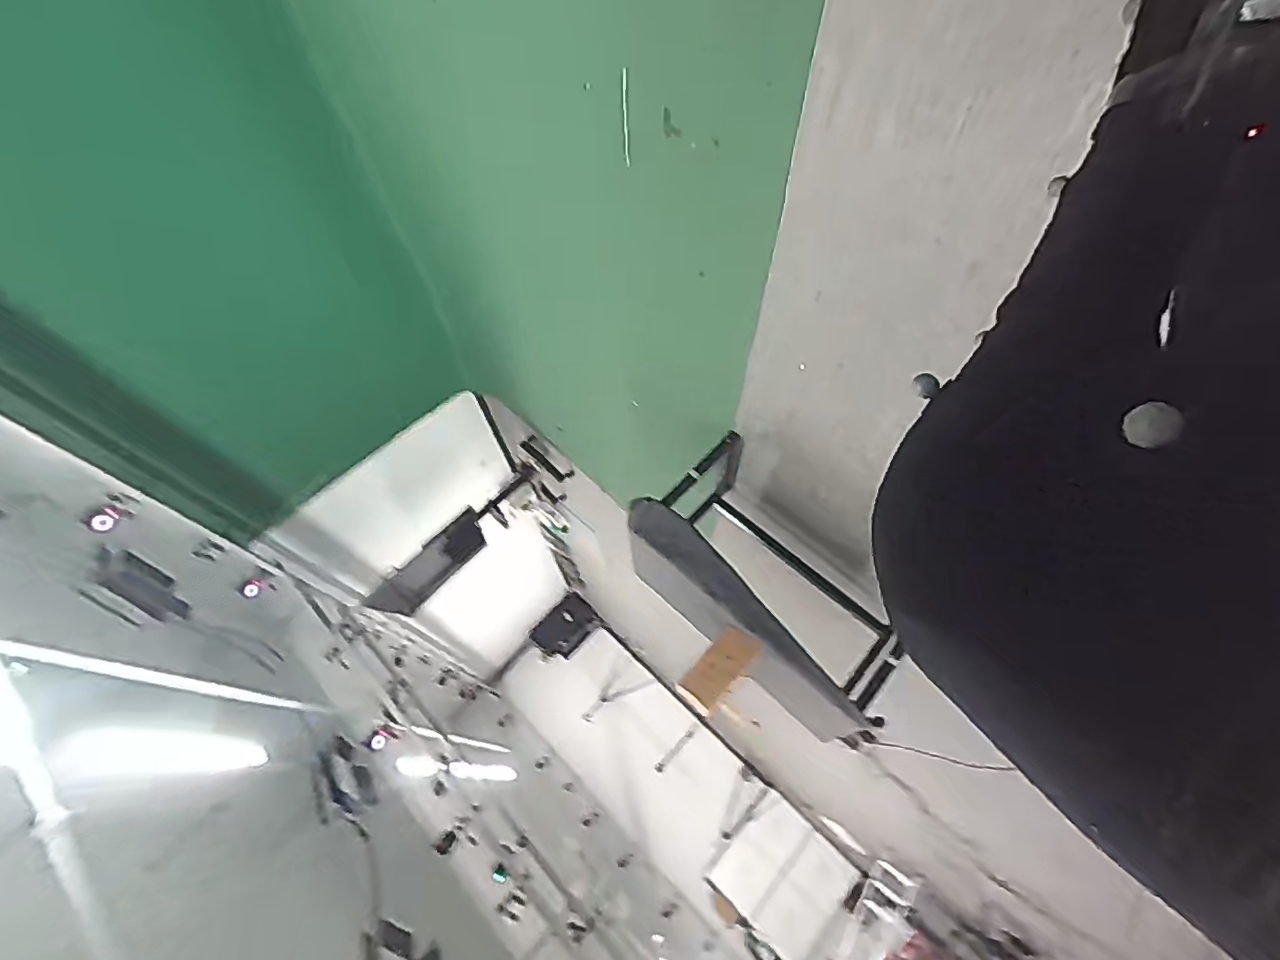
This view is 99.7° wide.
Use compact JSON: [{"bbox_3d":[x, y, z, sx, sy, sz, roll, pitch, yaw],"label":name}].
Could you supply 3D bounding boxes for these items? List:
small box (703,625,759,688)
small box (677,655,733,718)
[{"bbox_3d":[0.386,0.754,2.309,0.179,0.176,0.168,40,159,23],"label":"small box"},{"bbox_3d":[0.272,0.860,2.259,0.168,0.176,0.179,38,158,24],"label":"small box"}]
